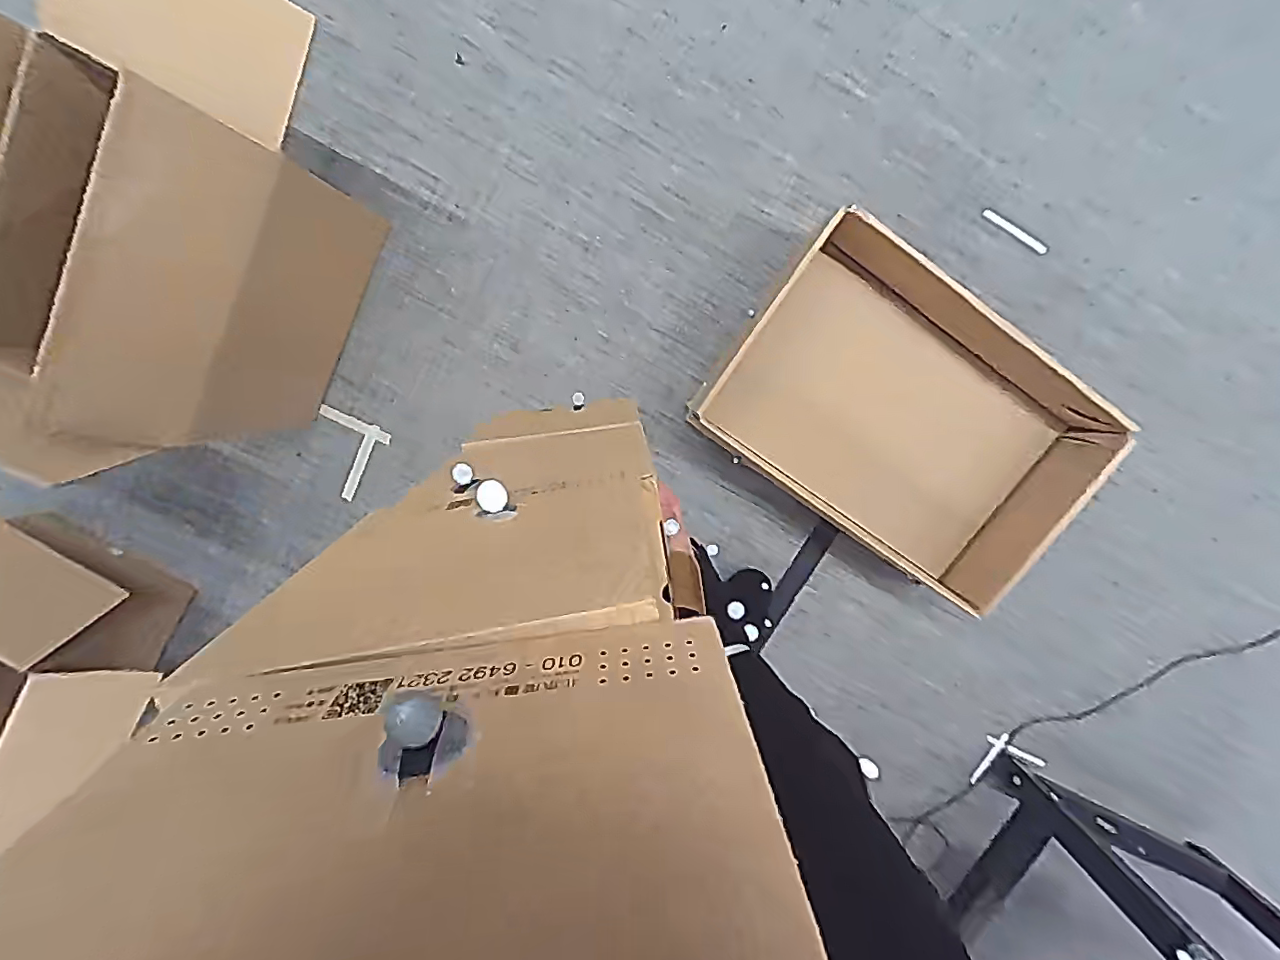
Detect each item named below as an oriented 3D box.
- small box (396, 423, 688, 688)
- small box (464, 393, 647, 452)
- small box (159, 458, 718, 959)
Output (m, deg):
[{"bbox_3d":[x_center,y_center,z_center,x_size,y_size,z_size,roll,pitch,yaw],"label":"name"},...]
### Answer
[{"bbox_3d":[-0.066,0.058,0.430,0.179,0.176,0.168,-9,107,-1],"label":"small box"},{"bbox_3d":[-0.070,0.011,0.589,0.168,0.176,0.179,-6,107,2],"label":"small box"},{"bbox_3d":[-0.063,0.102,0.271,0.168,0.176,0.179,-10,106,0],"label":"small box"}]
